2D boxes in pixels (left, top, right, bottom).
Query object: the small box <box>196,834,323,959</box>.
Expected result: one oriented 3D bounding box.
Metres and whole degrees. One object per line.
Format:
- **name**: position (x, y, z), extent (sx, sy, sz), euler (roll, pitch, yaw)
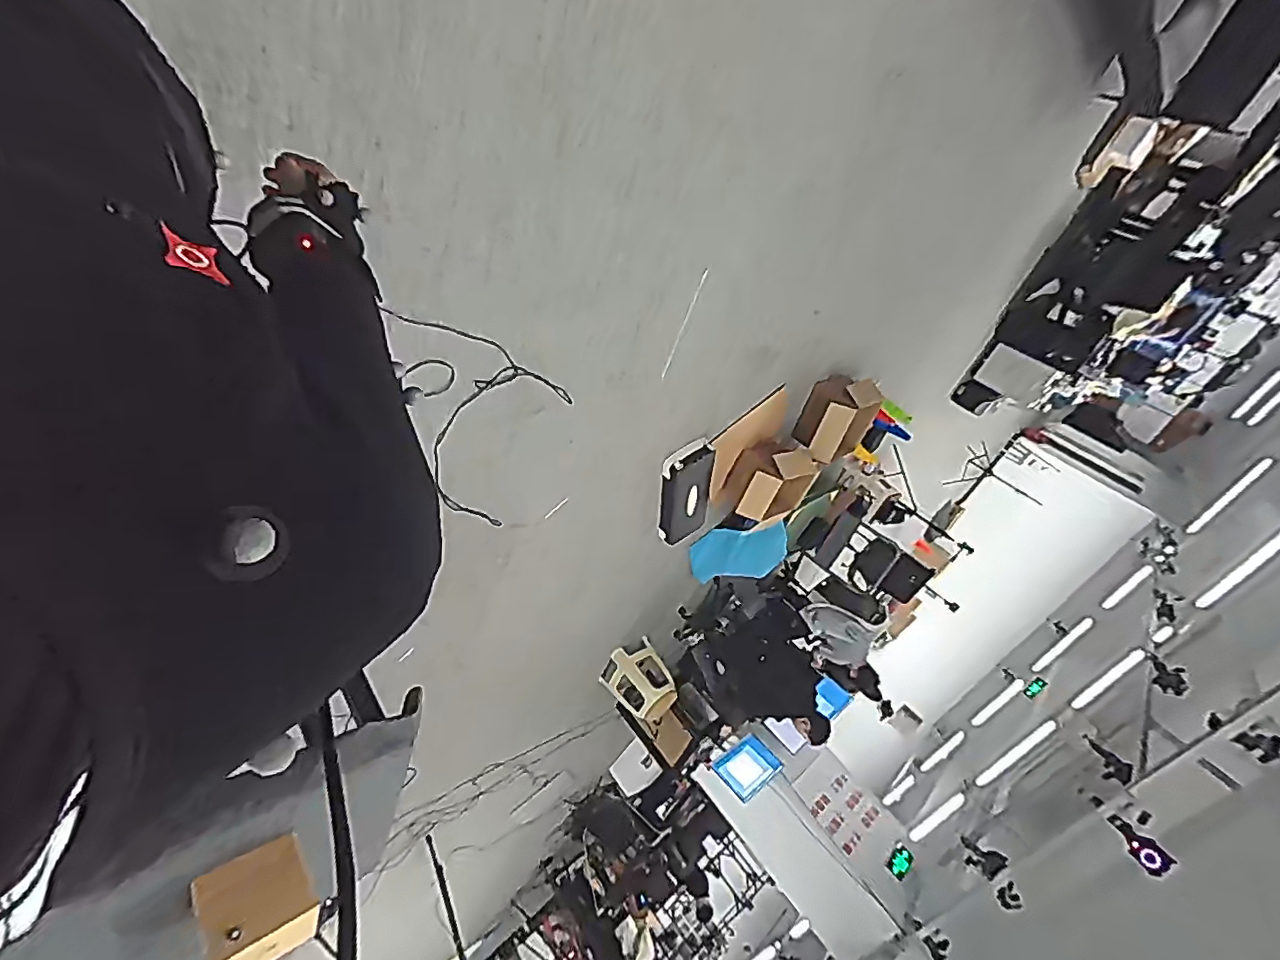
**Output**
- **small box**: position (-0.772, 0.870, 1.097), extent (0.179, 0.176, 0.168), euler (-9, 134, -44)
